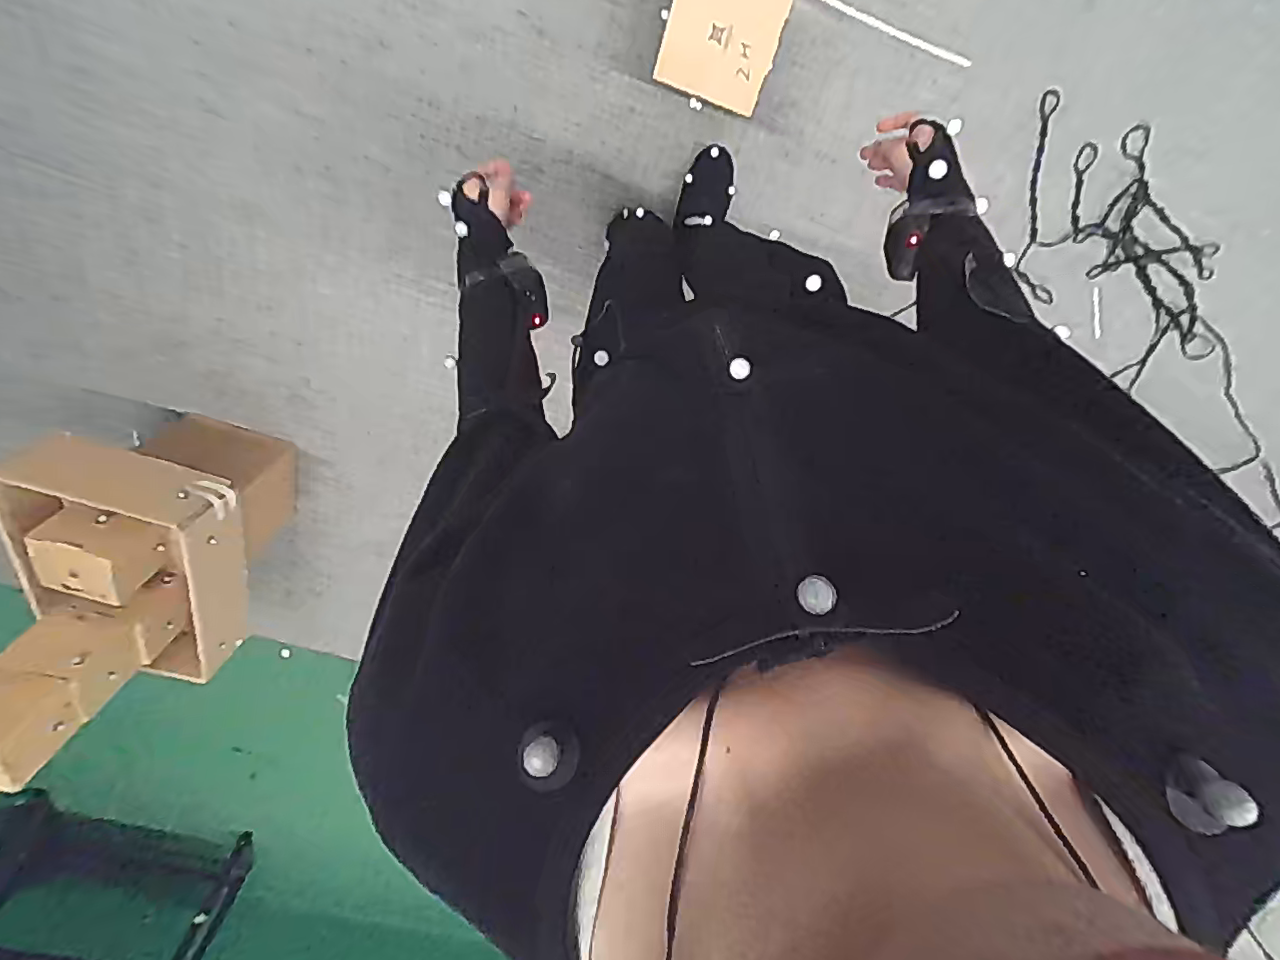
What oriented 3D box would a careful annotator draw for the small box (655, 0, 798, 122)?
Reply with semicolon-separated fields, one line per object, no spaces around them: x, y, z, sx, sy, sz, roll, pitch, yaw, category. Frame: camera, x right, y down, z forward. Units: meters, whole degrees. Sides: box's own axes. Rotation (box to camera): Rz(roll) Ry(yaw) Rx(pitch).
0.136;-0.723;0.906;0.179;0.176;0.168;17;124;-7;small box

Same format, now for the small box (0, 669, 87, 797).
-1.341;0.525;1.135;0.179;0.176;0.168;17;123;-8;small box
